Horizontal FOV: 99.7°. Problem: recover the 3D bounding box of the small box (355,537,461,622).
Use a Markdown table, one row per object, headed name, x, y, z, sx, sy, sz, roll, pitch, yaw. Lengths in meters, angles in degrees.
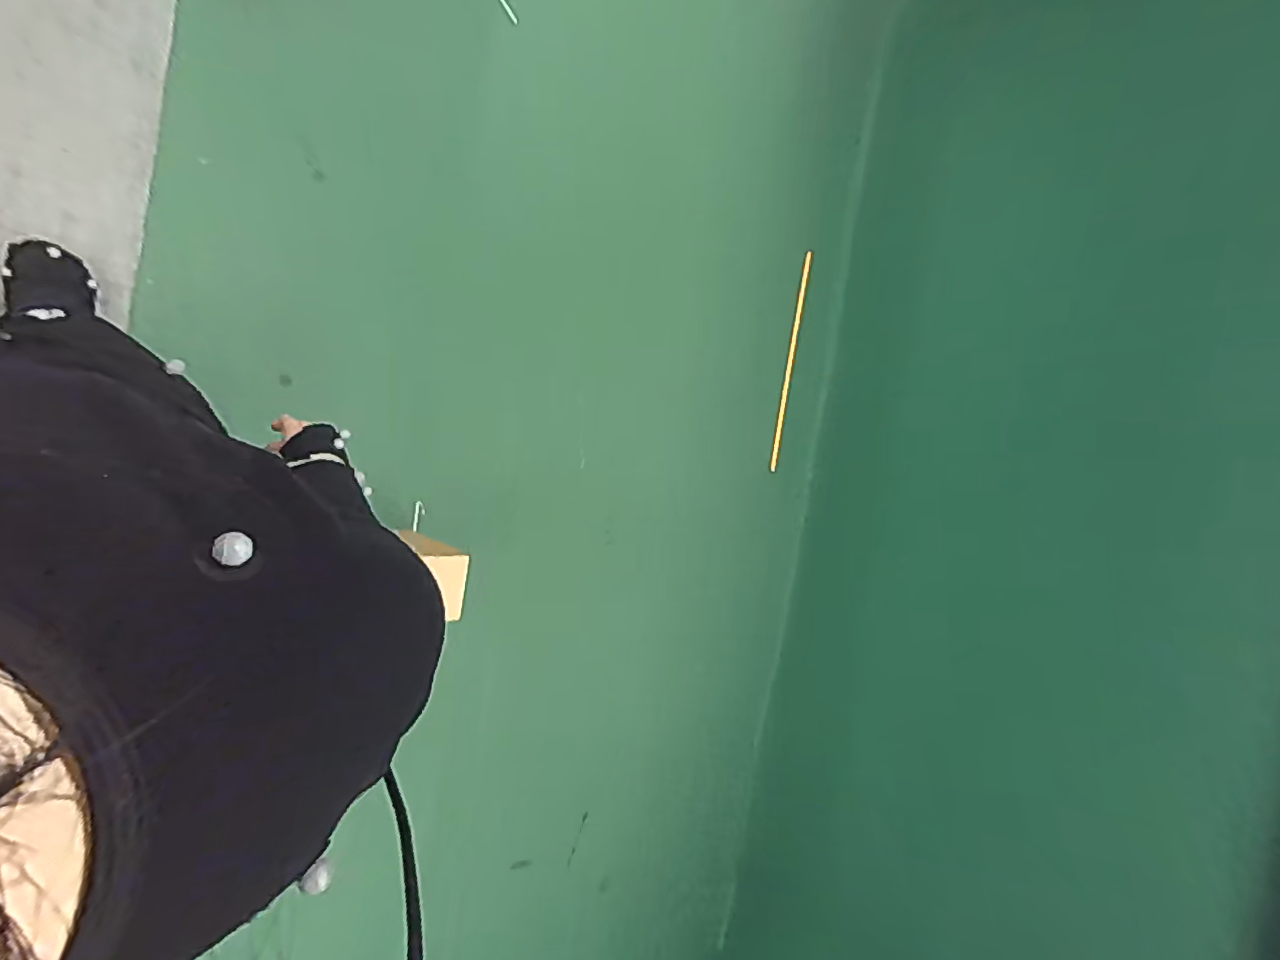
| name | x | y | z | sx | sy | sz | roll | pitch | yaw |
| --- | --- | --- | --- | --- | --- | --- | --- | --- | --- |
| small box | -0.581 | 0.240 | 1.352 | 0.179 | 0.176 | 0.168 | 8 | 93 | -48 |
